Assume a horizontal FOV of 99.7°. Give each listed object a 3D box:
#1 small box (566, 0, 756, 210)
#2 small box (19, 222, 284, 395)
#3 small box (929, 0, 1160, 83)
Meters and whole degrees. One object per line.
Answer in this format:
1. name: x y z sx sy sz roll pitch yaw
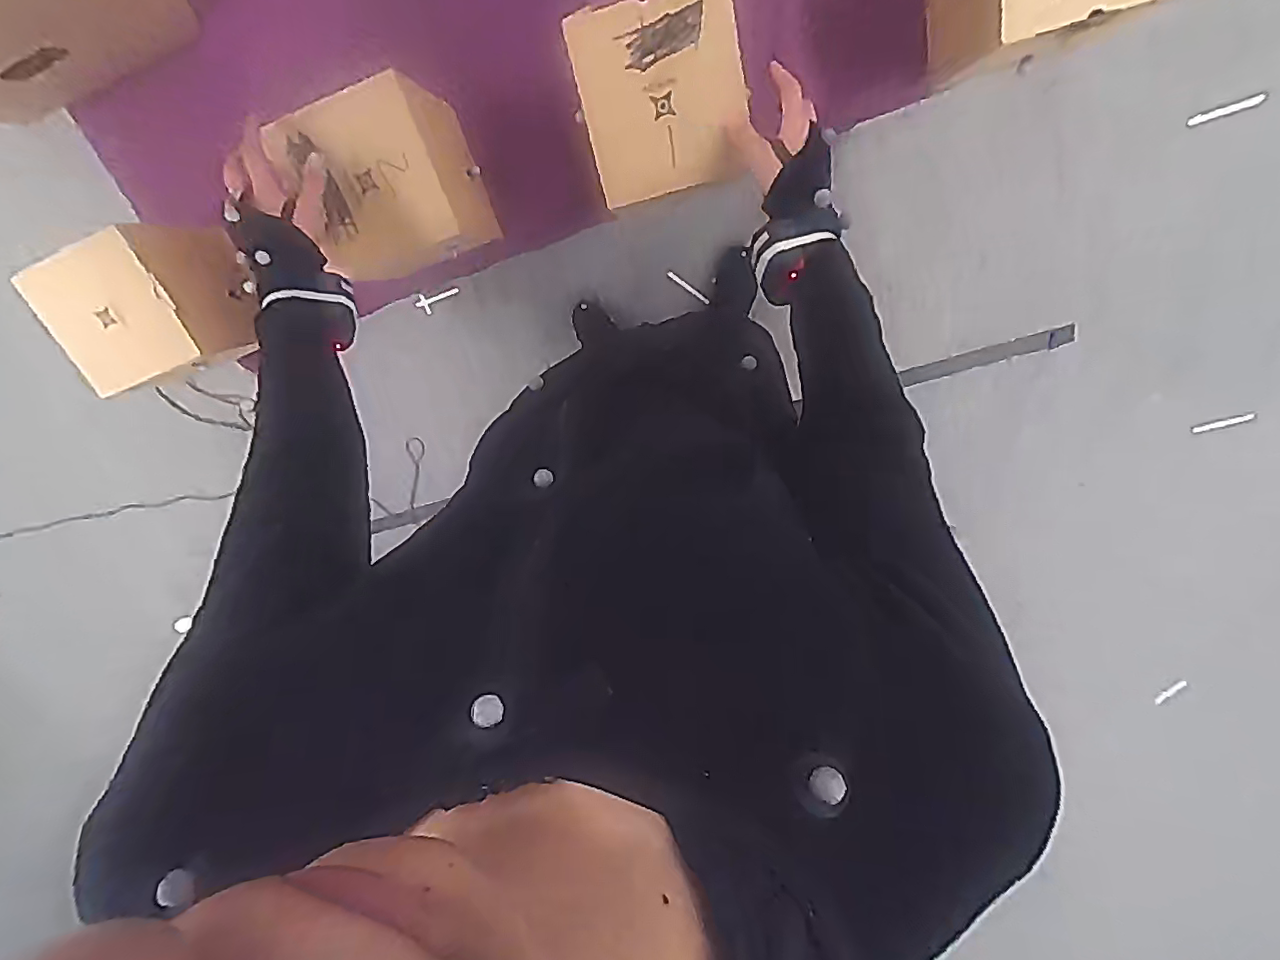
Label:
1. small box: 0.028 -0.424 0.618 0.168 0.176 0.179 -12 114 9
2. small box: -0.653 -0.238 0.749 0.179 0.176 0.168 -19 111 10
3. small box: 0.404 -0.539 0.538 0.168 0.176 0.179 -11 112 10
